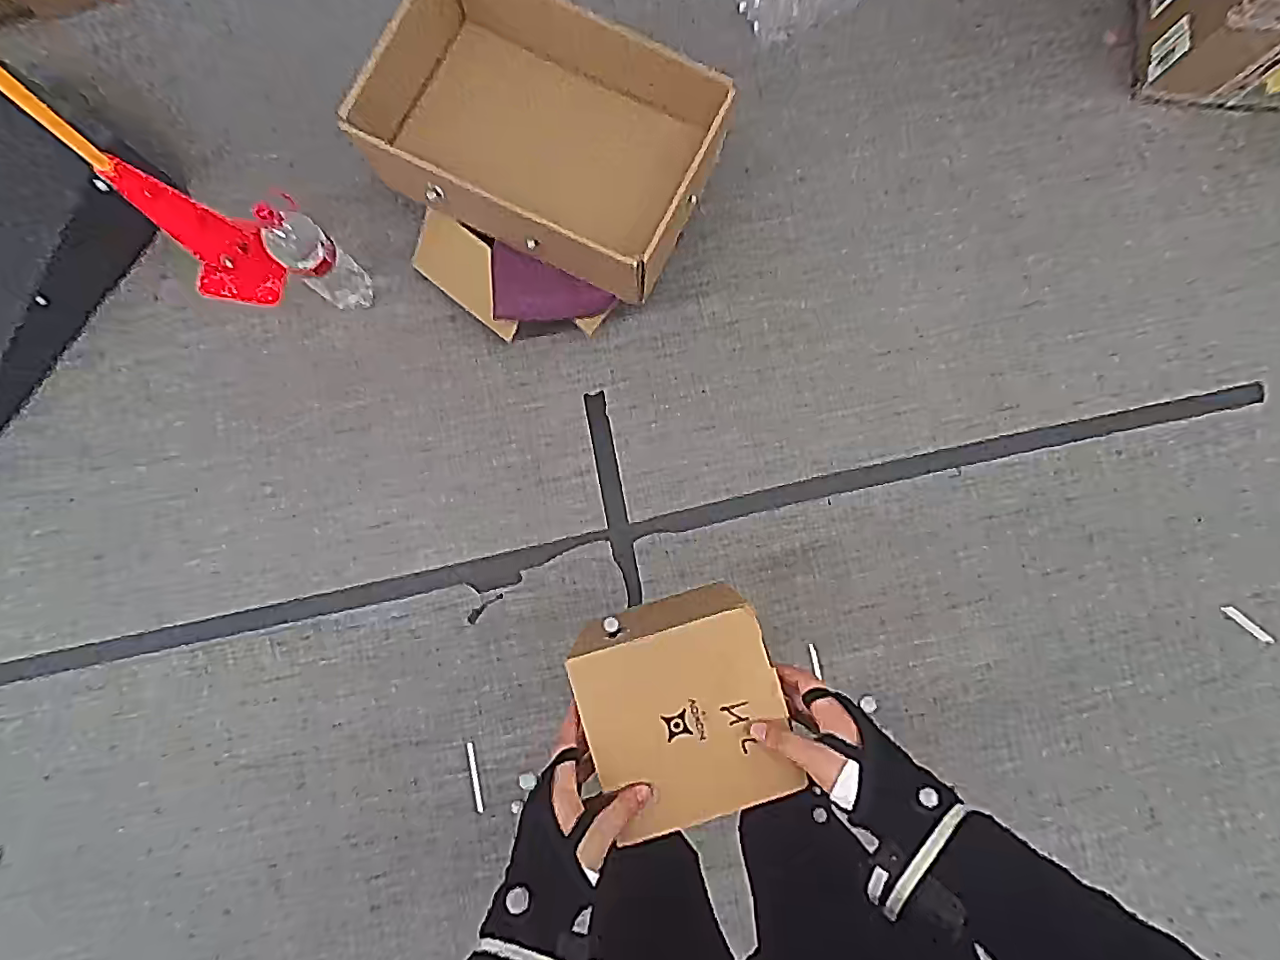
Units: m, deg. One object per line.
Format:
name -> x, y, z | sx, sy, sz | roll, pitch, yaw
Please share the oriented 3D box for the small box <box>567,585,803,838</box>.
small box -> 0.040, 0.217, 0.555 | 0.179, 0.176, 0.168 | -16, 87, -2
